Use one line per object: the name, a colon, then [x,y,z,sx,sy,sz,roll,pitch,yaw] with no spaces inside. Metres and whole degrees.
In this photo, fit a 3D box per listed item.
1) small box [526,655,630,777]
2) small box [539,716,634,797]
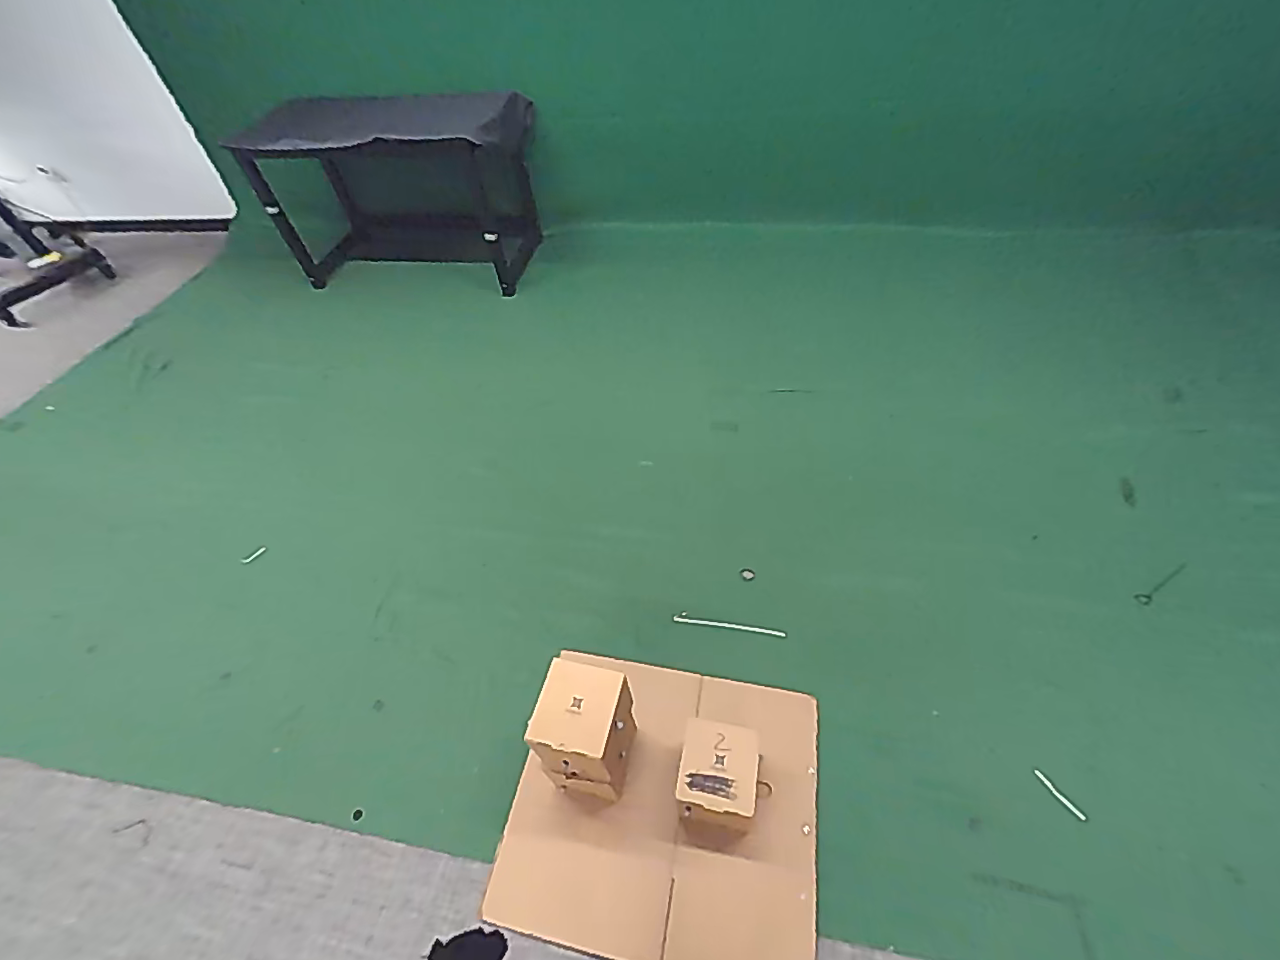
small box: [-0.122,0.510,1.165,0.168,0.176,0.179,8,51,13]
small box: [-0.116,0.625,1.280,0.168,0.176,0.179,7,49,13]
